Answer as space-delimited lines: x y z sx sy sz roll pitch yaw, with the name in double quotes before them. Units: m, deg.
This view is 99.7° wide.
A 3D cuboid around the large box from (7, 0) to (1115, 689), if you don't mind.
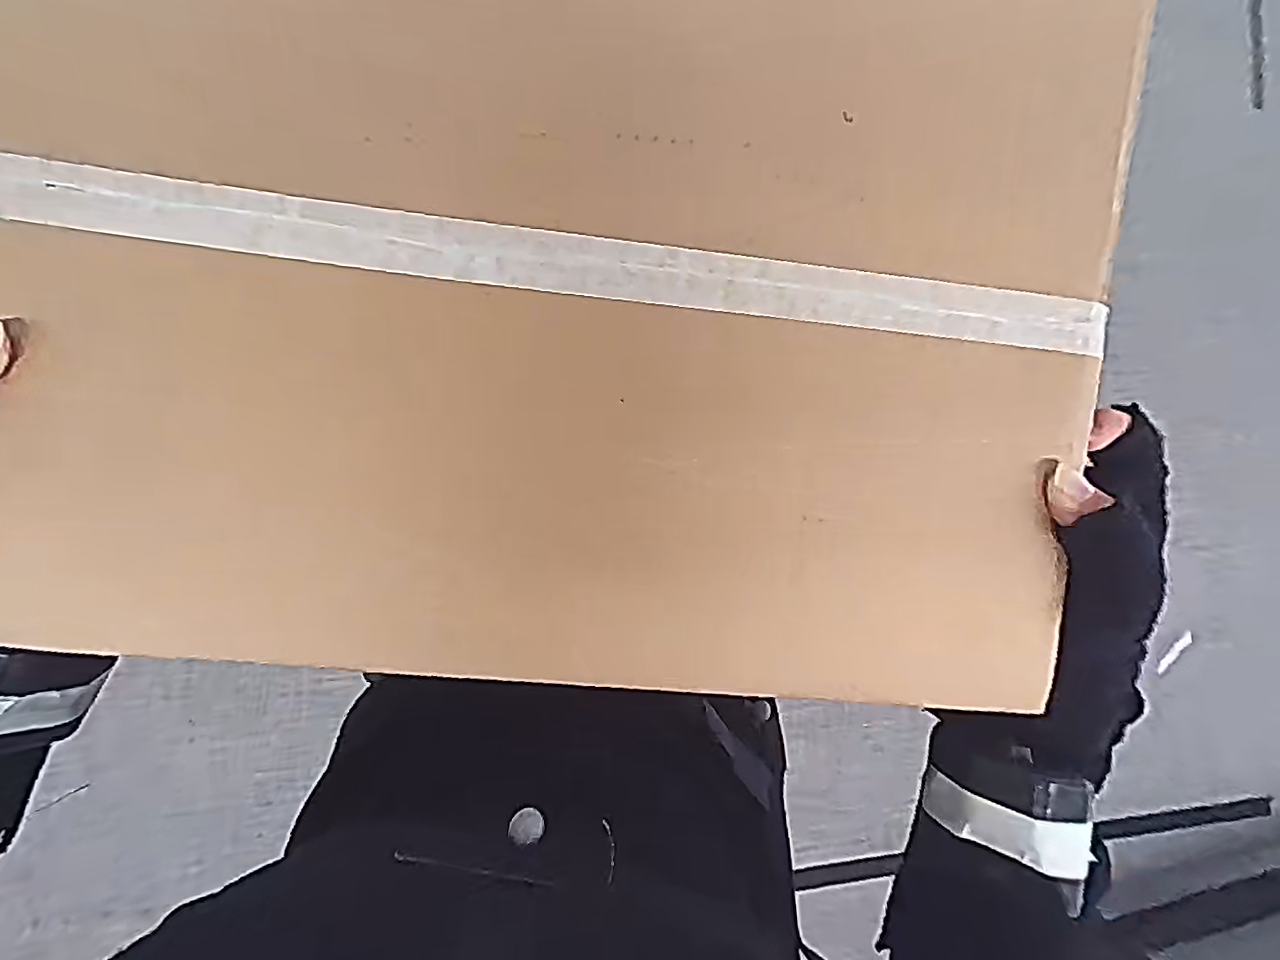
"large box" -0.031 -0.089 0.357 0.408 0.320 0.320 6 94 -5
